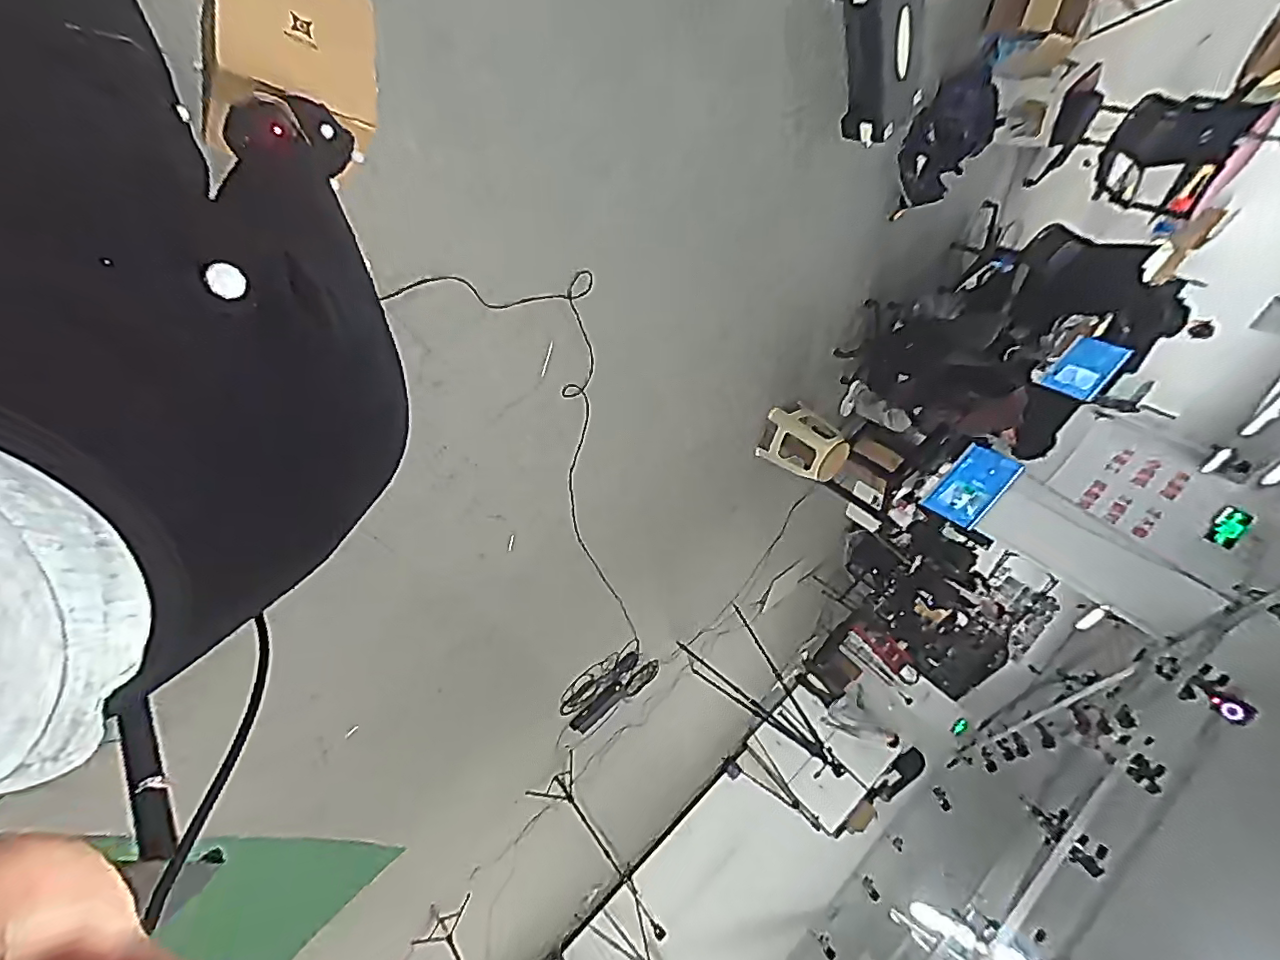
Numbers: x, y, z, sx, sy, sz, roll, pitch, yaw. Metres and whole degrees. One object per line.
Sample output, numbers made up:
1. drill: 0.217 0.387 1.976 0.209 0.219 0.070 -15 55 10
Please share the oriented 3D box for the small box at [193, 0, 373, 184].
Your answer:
1. small box: -0.456 -0.520 0.691 0.168 0.176 0.179 -1 85 -44
